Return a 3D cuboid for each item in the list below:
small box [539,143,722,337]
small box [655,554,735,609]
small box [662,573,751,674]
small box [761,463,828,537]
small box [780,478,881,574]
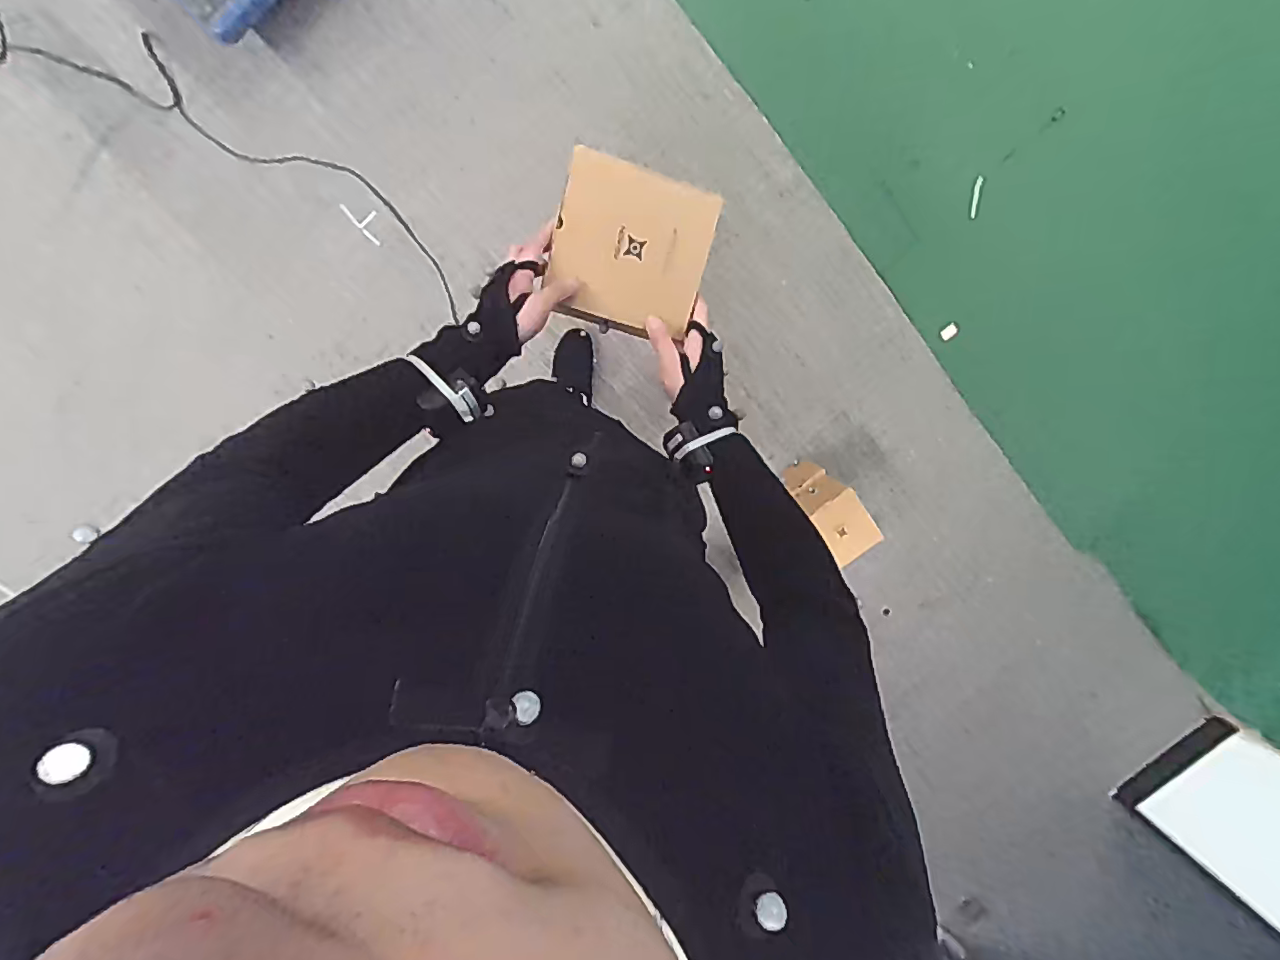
[{"bbox_3d":[-0.021,-0.283,0.684,0.179,0.176,0.168,14,101,-11],"label":"small box"},{"bbox_3d":[0.161,0.348,1.664,0.168,0.176,0.179,-39,102,5],"label":"small box"},{"bbox_3d":[0.179,0.393,1.506,0.168,0.176,0.179,-35,103,3],"label":"small box"},{"bbox_3d":[0.492,0.064,1.640,0.168,0.176,0.179,-36,104,5],"label":"small box"},{"bbox_3d":[0.510,0.118,1.470,0.168,0.176,0.179,-36,103,5],"label":"small box"}]
